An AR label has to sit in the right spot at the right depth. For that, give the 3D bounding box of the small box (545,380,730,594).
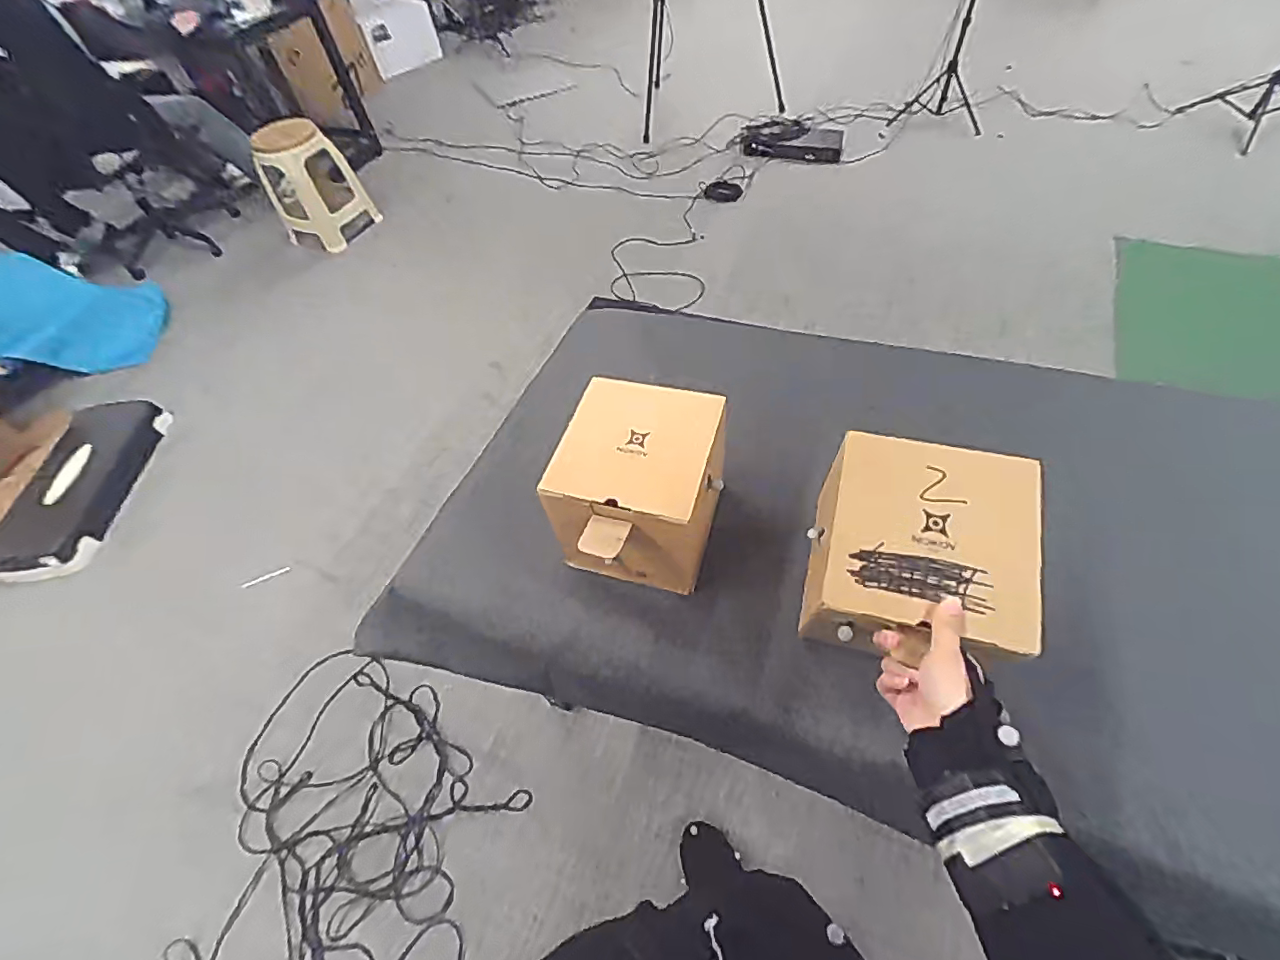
[{"bbox_3d":[0.007,0.010,0.652,0.168,0.176,0.179,11,56,14],"label":"small box"}]
